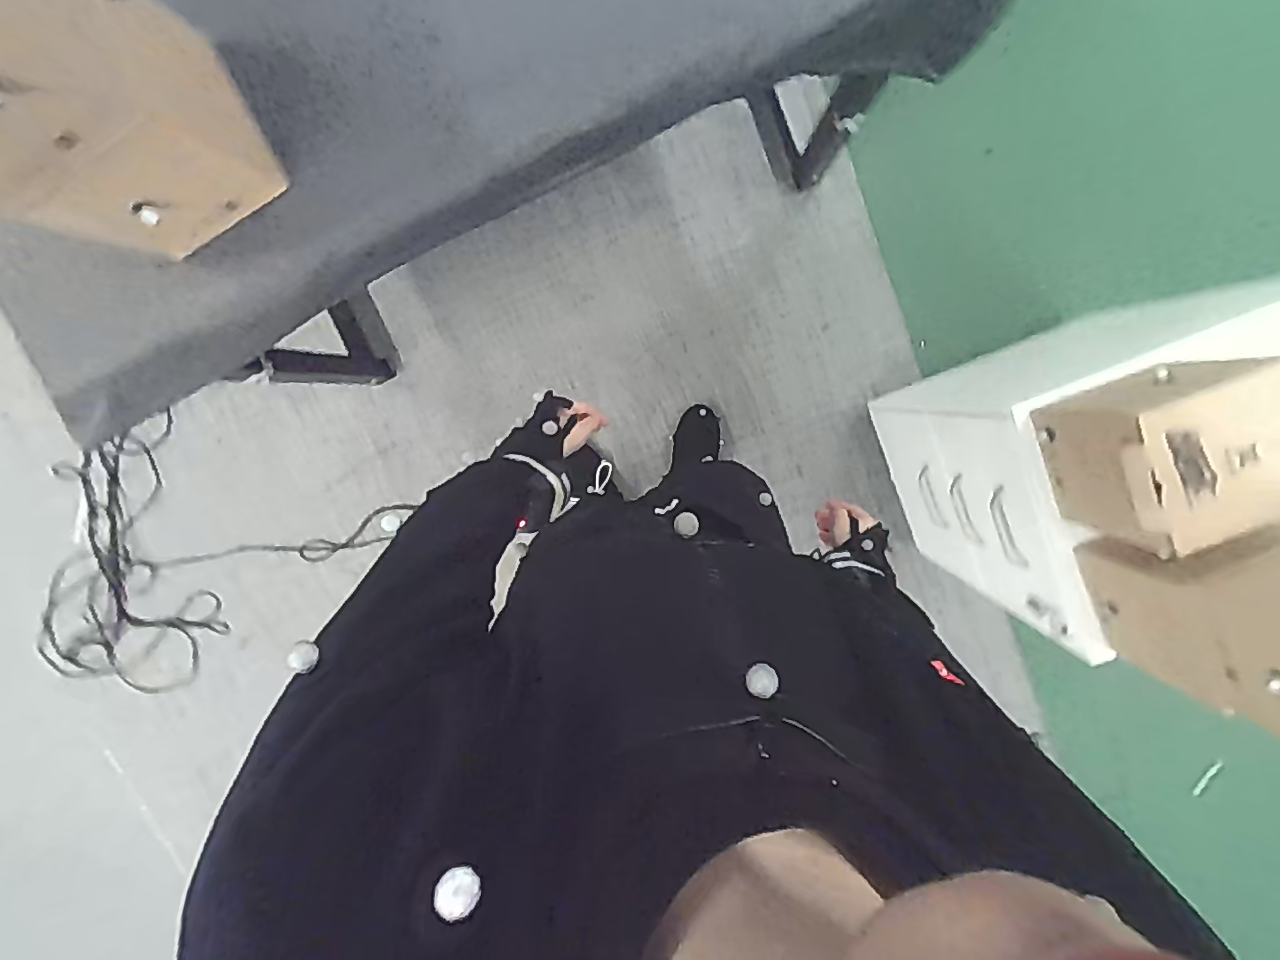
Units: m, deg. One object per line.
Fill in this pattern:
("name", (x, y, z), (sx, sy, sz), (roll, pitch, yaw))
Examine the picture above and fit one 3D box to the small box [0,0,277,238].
("small box", (-0.506, -0.359, 0.520), (0.168, 0.176, 0.179), (-27, 96, 7))
